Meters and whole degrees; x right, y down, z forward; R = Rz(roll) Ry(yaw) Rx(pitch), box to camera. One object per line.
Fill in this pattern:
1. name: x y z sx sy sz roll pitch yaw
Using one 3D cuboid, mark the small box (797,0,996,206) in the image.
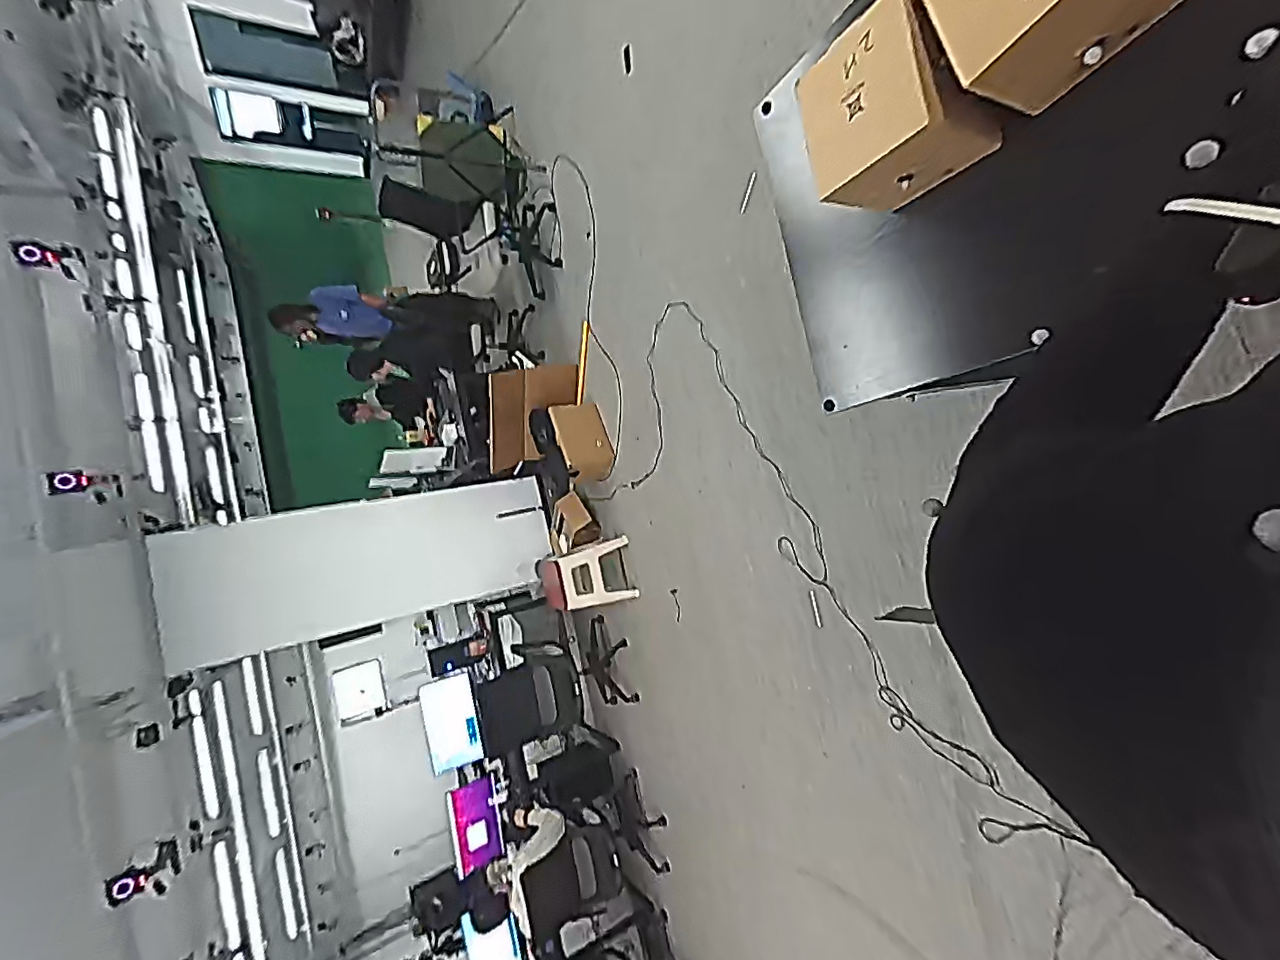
1. small box: 0.345 -0.493 0.730 0.168 0.176 0.179 -13 87 59
